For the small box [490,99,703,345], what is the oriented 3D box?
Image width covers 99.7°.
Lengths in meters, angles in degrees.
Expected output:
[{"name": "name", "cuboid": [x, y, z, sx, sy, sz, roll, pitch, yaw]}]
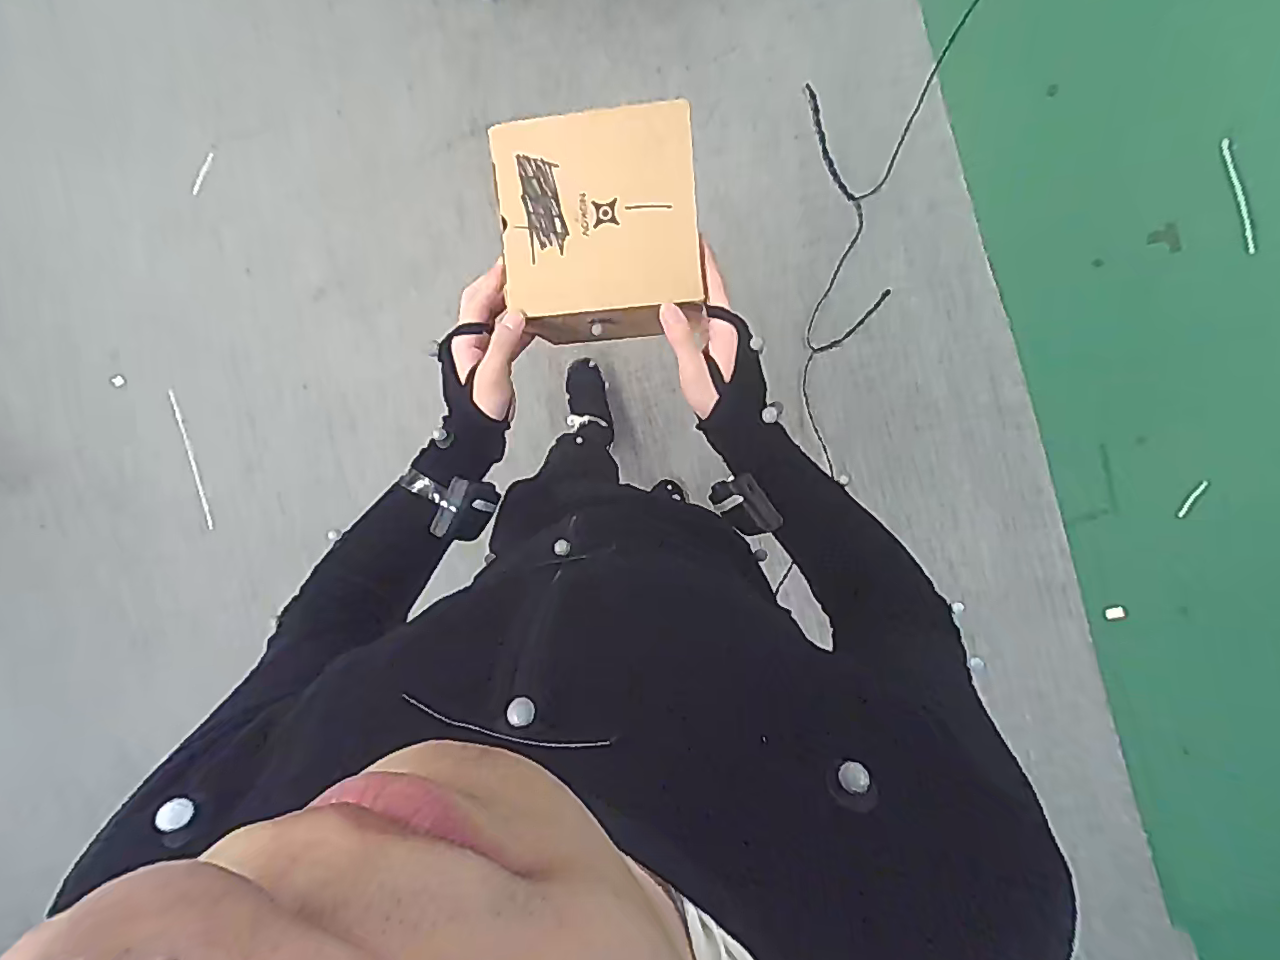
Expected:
[{"name": "small box", "cuboid": [-0.030, -0.236, 0.542, 0.179, 0.176, 0.168, -5, 96, 5]}]
